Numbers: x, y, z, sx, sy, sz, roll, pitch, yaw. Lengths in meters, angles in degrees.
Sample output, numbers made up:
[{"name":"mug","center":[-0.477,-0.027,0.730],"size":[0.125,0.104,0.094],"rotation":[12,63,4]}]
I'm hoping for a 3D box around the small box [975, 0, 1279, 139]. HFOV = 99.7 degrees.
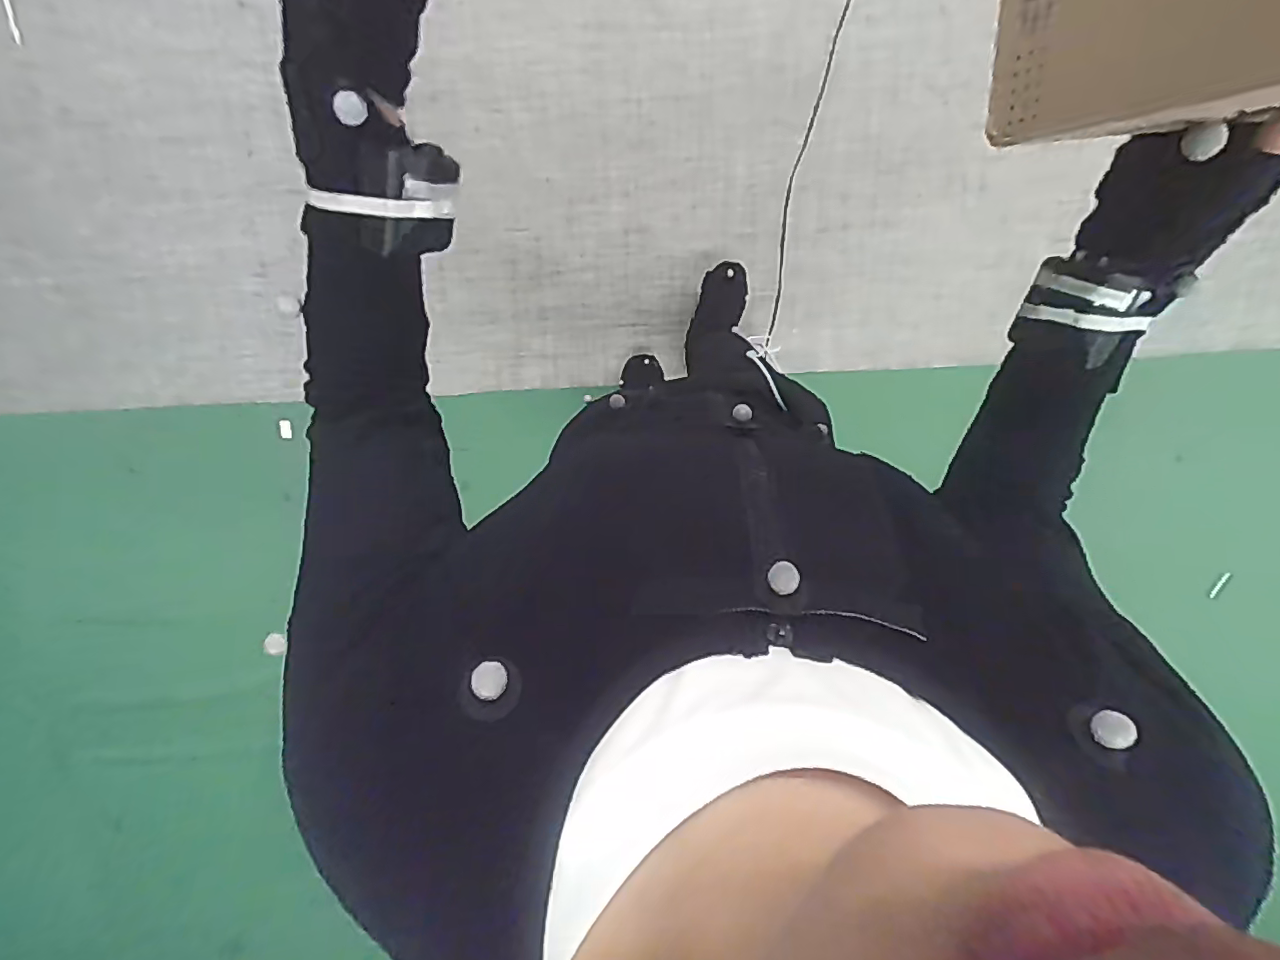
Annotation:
[{"name":"small box","center":[0.258,-0.228,0.179],"size":[0.179,0.176,0.168],"rotation":[-13,114,-11]}]
